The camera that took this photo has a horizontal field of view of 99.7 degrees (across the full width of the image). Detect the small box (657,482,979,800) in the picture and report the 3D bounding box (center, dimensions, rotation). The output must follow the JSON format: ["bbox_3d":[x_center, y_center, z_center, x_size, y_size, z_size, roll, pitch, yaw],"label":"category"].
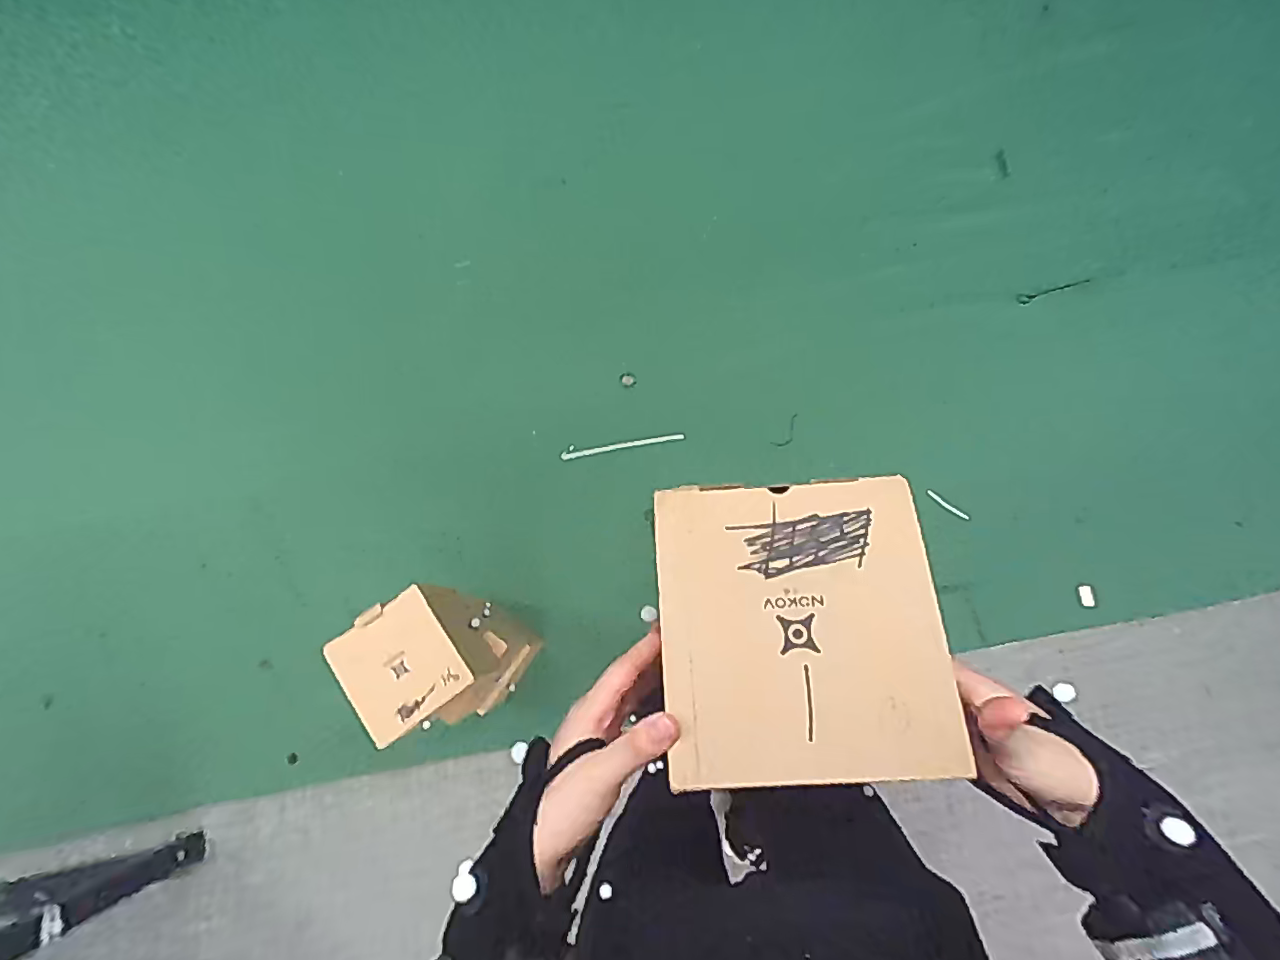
[{"bbox_3d":[0.098,0.115,0.391,0.168,0.176,0.179,-4,69,2],"label":"small box"}]

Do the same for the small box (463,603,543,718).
[{"bbox_3d":[-0.337,0.384,1.187,0.179,0.176,0.168,34,80,8],"label":"small box"}]

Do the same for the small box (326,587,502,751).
[{"bbox_3d":[-0.351,0.293,0.870,0.168,0.176,0.179,-35,79,-7],"label":"small box"}]
